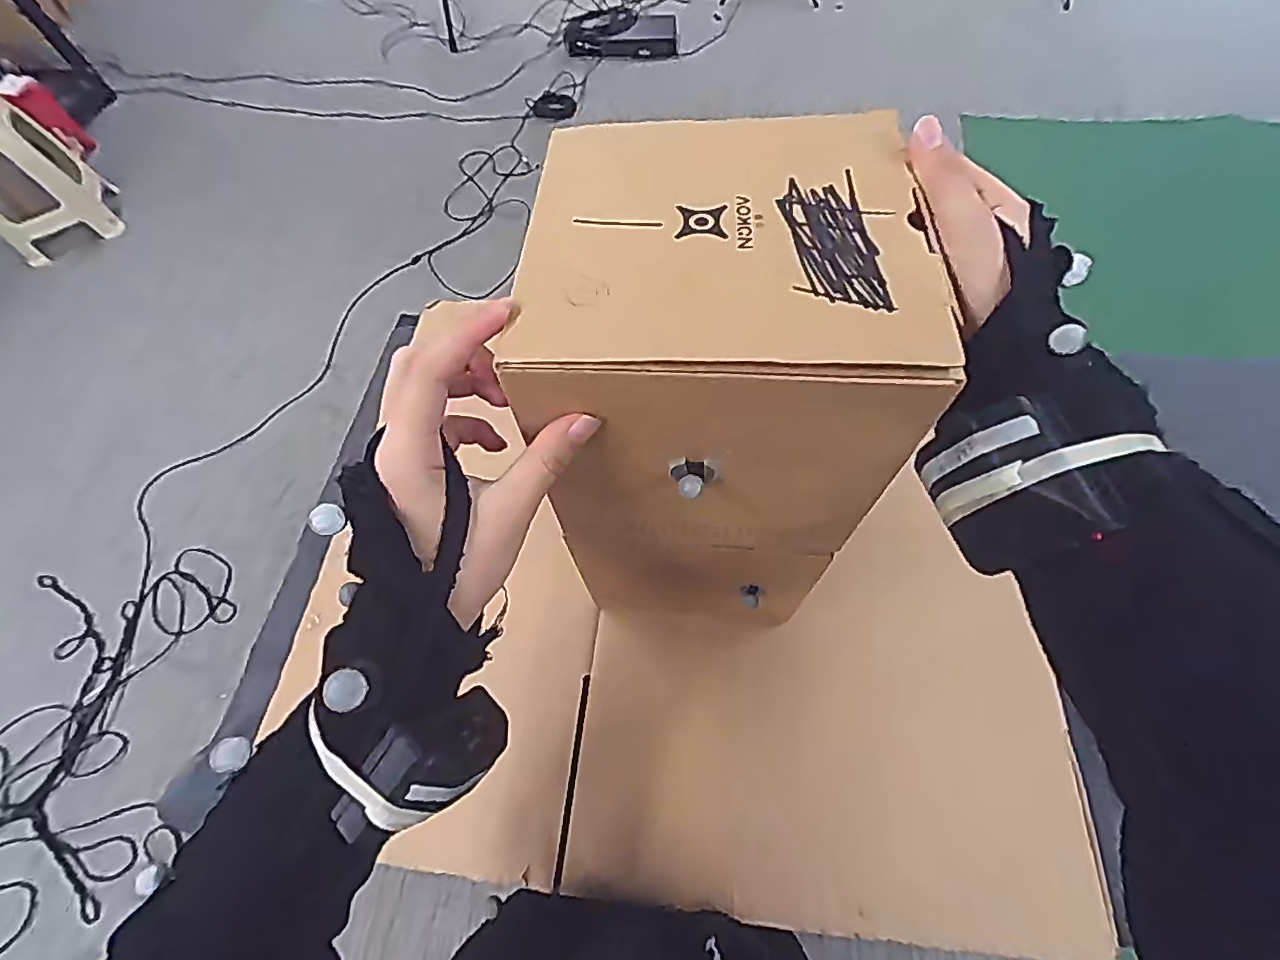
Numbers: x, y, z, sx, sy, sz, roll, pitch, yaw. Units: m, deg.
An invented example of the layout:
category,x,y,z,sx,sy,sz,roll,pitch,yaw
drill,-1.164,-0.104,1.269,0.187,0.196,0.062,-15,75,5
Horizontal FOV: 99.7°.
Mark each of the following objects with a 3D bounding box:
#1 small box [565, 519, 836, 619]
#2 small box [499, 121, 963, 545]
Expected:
category,x,y,z,sx,sy,sz,roll,pitch,yaw
small box,0.049,0.012,0.452,0.179,0.176,0.168,3,61,6
small box,0.042,-0.070,0.309,0.179,0.176,0.168,2,61,5
